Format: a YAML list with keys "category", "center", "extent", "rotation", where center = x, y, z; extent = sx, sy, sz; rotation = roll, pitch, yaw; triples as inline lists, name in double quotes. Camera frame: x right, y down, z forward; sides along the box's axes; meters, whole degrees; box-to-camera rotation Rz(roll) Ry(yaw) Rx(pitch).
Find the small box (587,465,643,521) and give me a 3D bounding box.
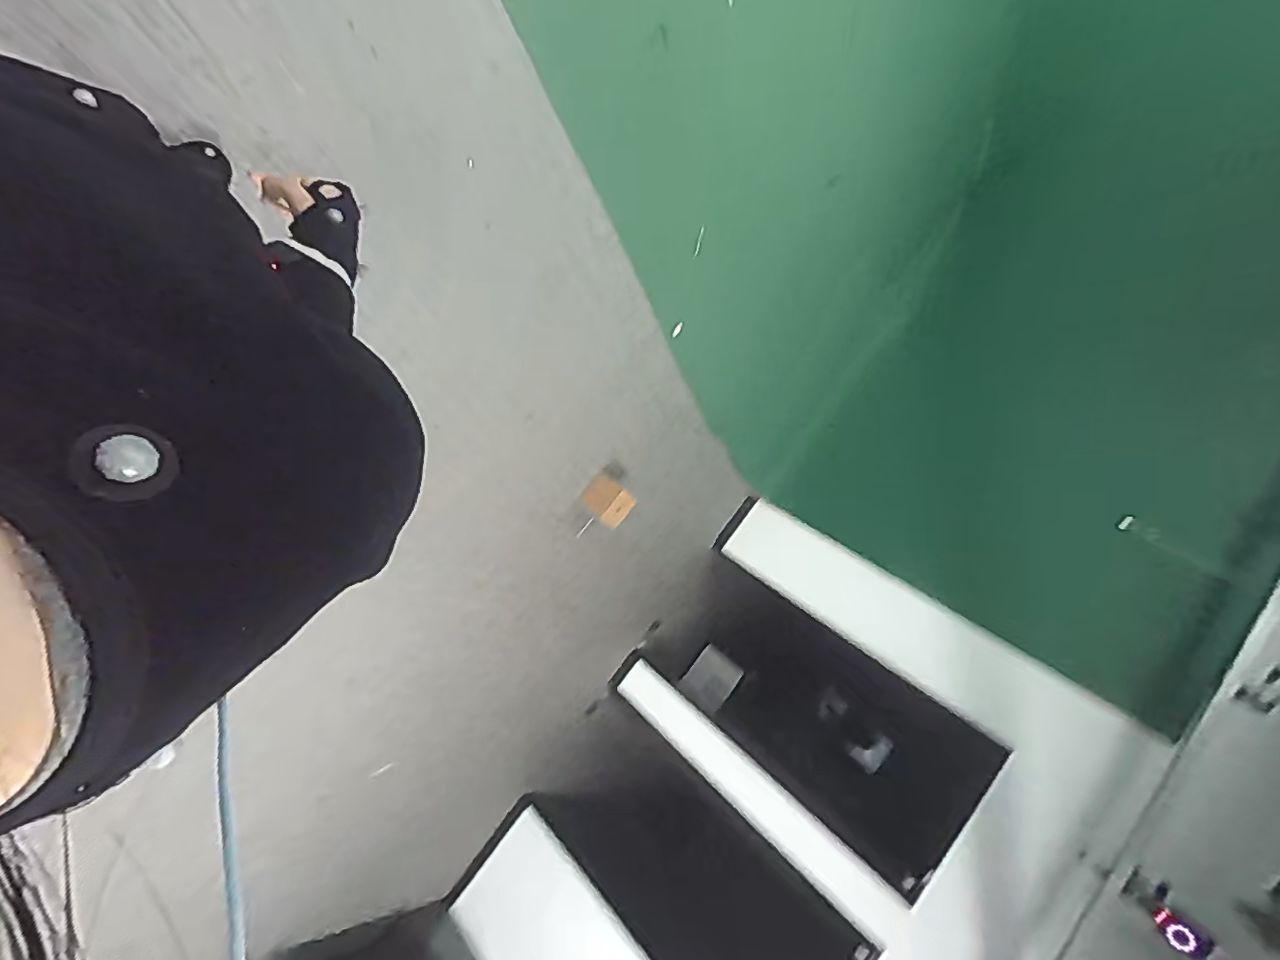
- category: "small box"
  center: [-0.125, 0.060, 2.540]
  extent: [0.179, 0.176, 0.168]
  rotation: [-53, 148, -6]
